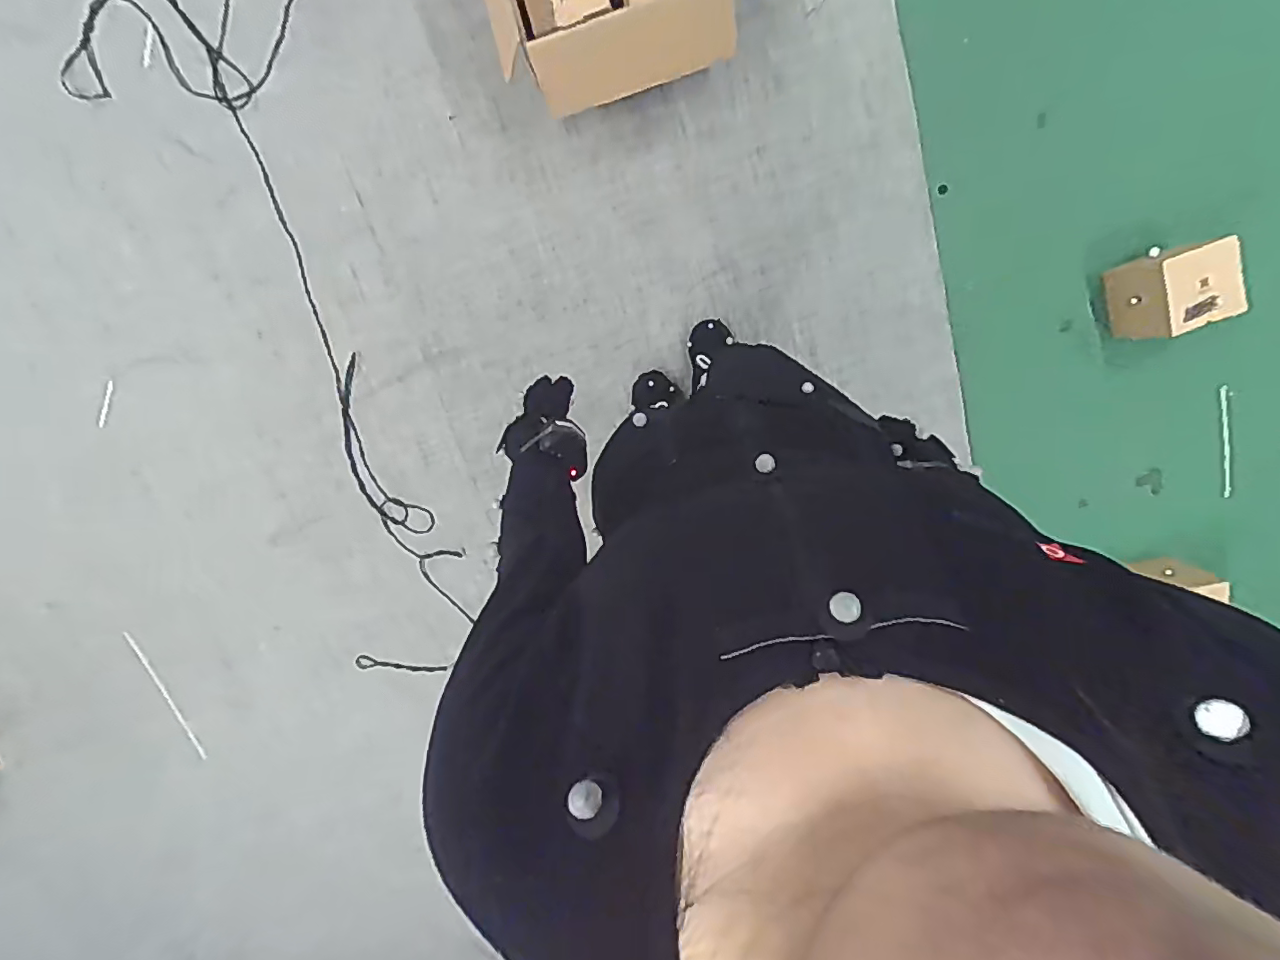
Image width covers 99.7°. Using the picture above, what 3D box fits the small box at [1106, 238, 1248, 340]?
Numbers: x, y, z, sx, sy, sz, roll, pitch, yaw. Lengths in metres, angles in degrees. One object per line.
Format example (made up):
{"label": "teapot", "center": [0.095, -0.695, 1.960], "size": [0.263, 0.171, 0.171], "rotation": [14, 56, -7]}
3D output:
{"label": "small box", "center": [1.261, -0.443, 1.280], "size": [0.168, 0.176, 0.179], "rotation": [-20, 102, 5]}
